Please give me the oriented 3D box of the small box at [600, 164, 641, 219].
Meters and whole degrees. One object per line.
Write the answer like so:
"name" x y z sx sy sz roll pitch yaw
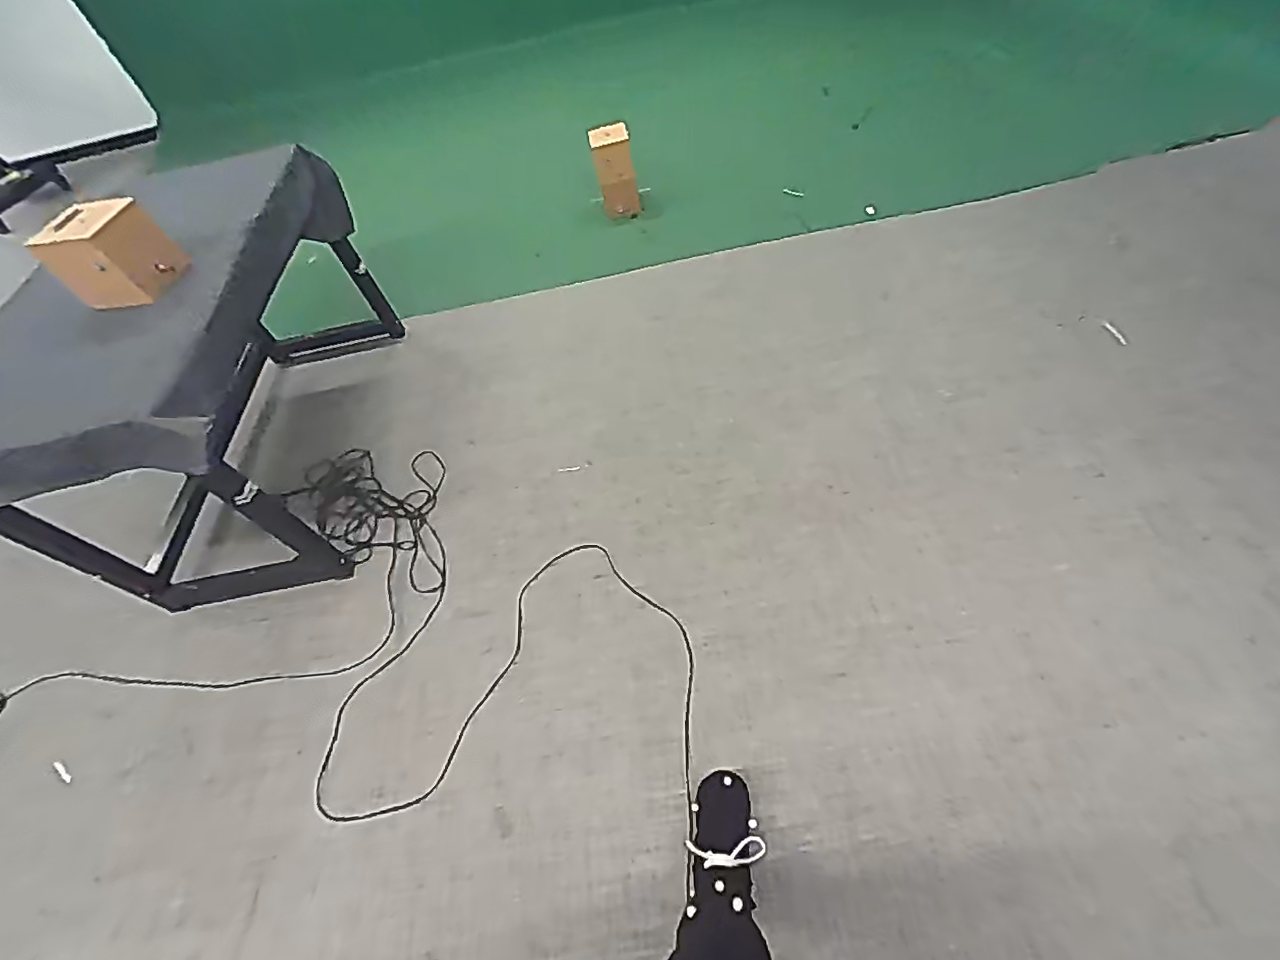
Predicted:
"small box" -0.096 -1.363 2.545 0.168 0.176 0.179 -12 55 3

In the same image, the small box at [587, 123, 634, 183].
"small box" -0.130 -1.451 2.411 0.168 0.176 0.179 -12 53 2
